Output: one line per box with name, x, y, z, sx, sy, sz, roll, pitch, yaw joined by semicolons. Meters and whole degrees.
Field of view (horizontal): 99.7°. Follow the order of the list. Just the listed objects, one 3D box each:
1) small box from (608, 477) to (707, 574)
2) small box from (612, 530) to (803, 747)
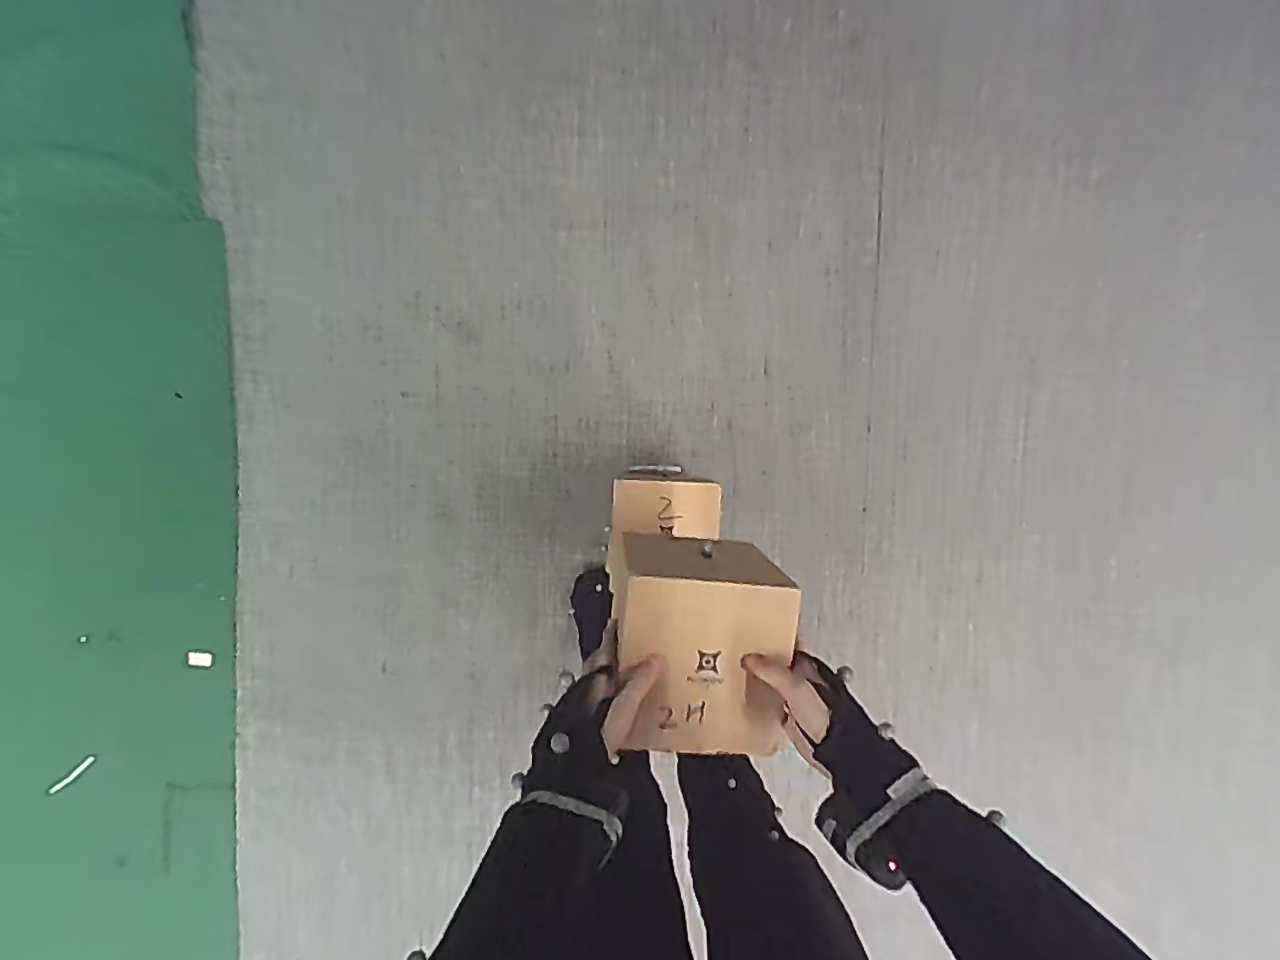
small box;0.029;0.091;1.072;0.168;0.176;0.179;7;94;-2
small box;0.060;0.162;0.602;0.168;0.176;0.179;7;98;-5
